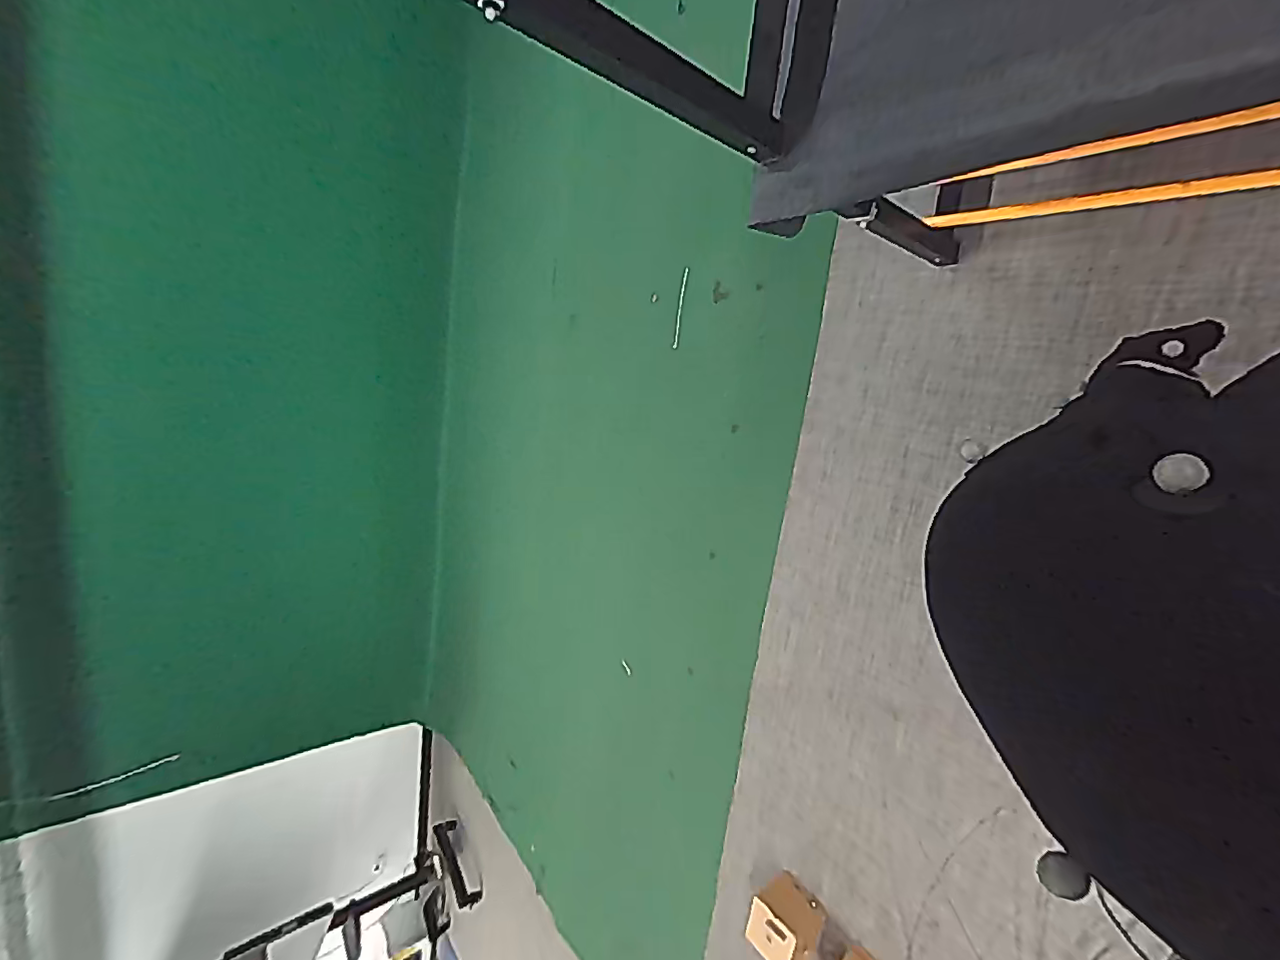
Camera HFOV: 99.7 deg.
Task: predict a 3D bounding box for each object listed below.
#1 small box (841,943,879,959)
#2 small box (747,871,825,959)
[{"bbox_3d":[0.642,1.509,1.556,0.168,0.176,0.179,23,109,48],"label":"small box"},{"bbox_3d":[0.477,1.427,1.752,0.168,0.176,0.179,23,109,48],"label":"small box"}]
